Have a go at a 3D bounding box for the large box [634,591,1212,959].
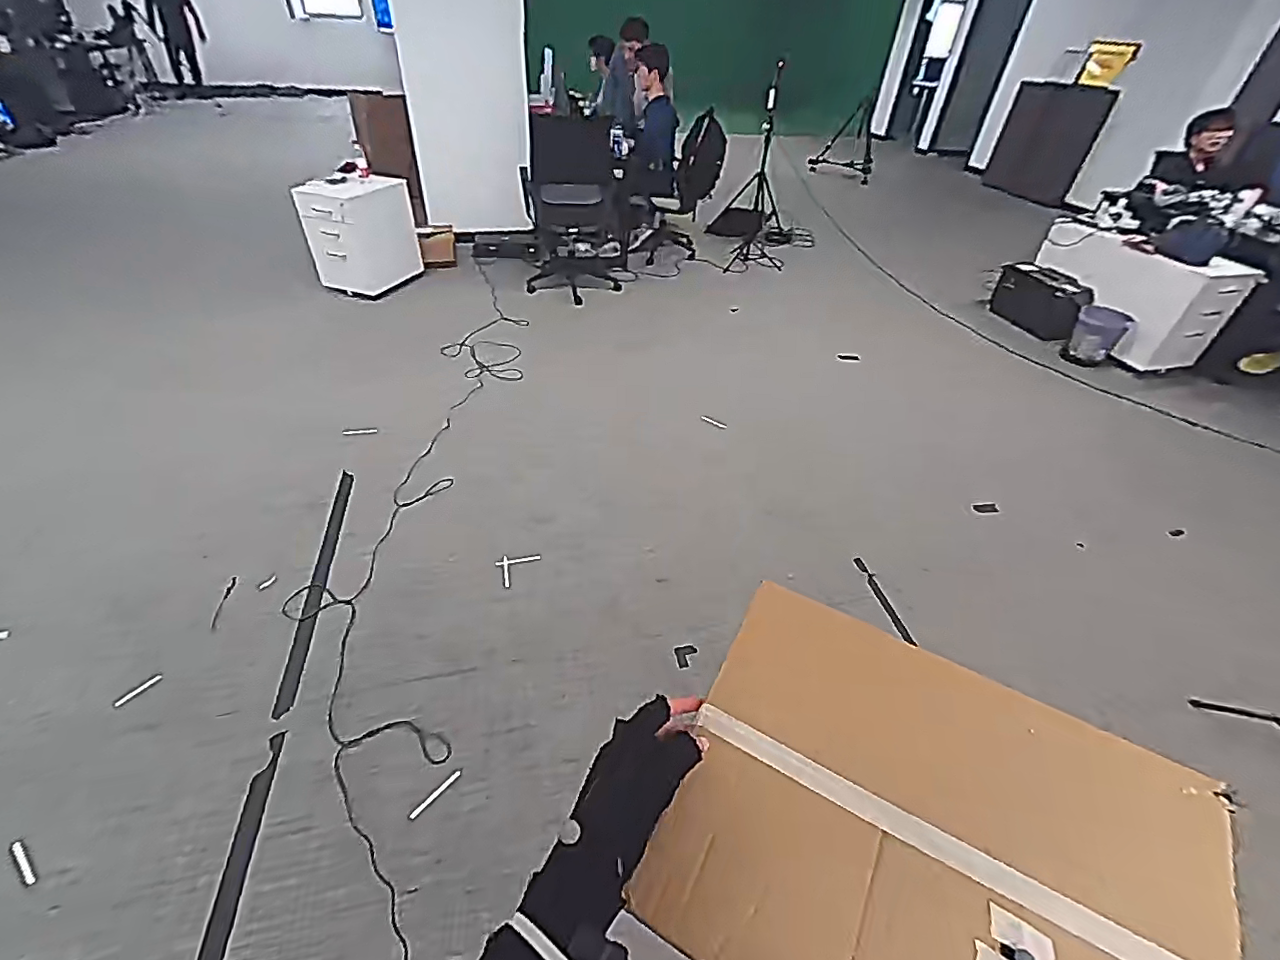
[{"bbox_3d":[0.240,0.386,0.569,0.408,0.320,0.320,23,57,19],"label":"large box"}]
